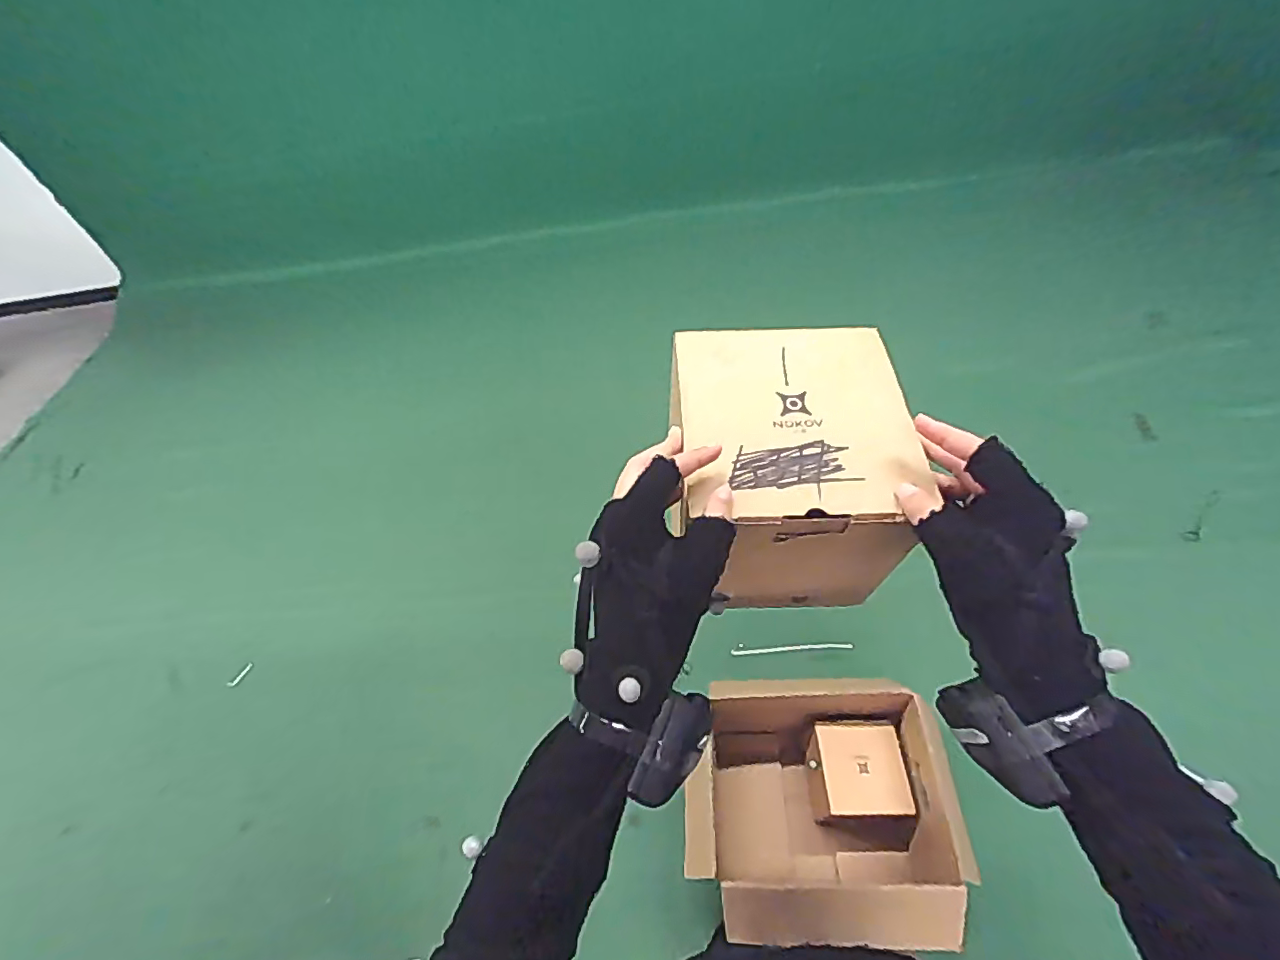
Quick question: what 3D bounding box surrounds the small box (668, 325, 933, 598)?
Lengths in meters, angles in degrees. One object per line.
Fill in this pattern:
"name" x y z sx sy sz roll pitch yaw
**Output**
"small box" 0.110 -0.007 0.459 0.168 0.176 0.179 -1 57 0
